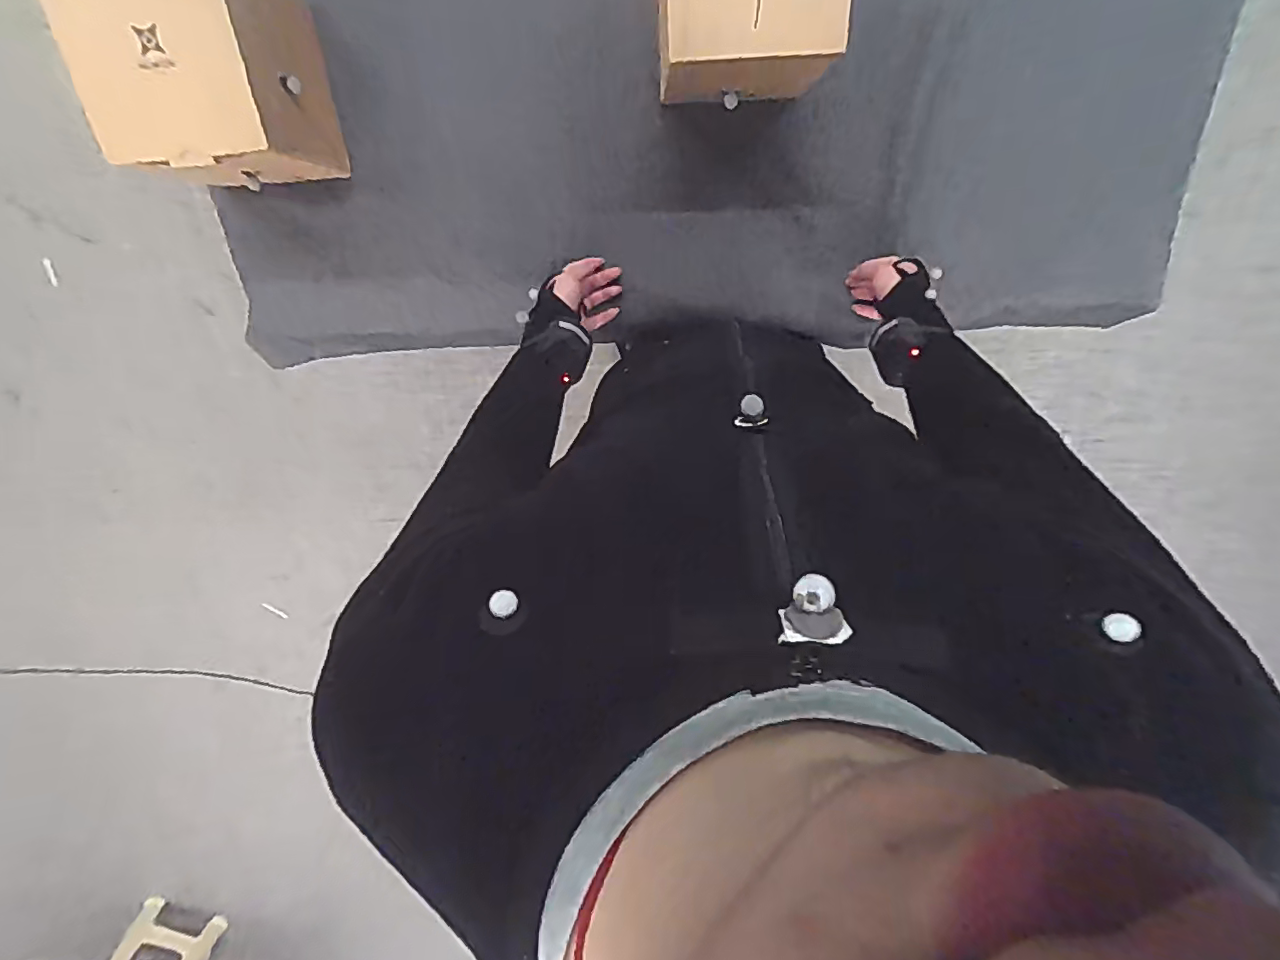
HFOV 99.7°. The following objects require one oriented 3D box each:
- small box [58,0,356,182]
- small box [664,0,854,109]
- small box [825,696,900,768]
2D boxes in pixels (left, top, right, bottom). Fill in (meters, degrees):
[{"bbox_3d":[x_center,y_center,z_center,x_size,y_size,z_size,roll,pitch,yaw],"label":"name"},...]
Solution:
[{"bbox_3d":[-0.436,-0.424,0.576,0.168,0.176,0.179,-4,114,1],"label":"small box"},{"bbox_3d":[0.110,-0.500,0.548,0.168,0.176,0.179,-2,115,1],"label":"small box"},{"bbox_3d":[0.803,0.914,1.970,0.179,0.176,0.168,10,112,-4],"label":"small box"}]
